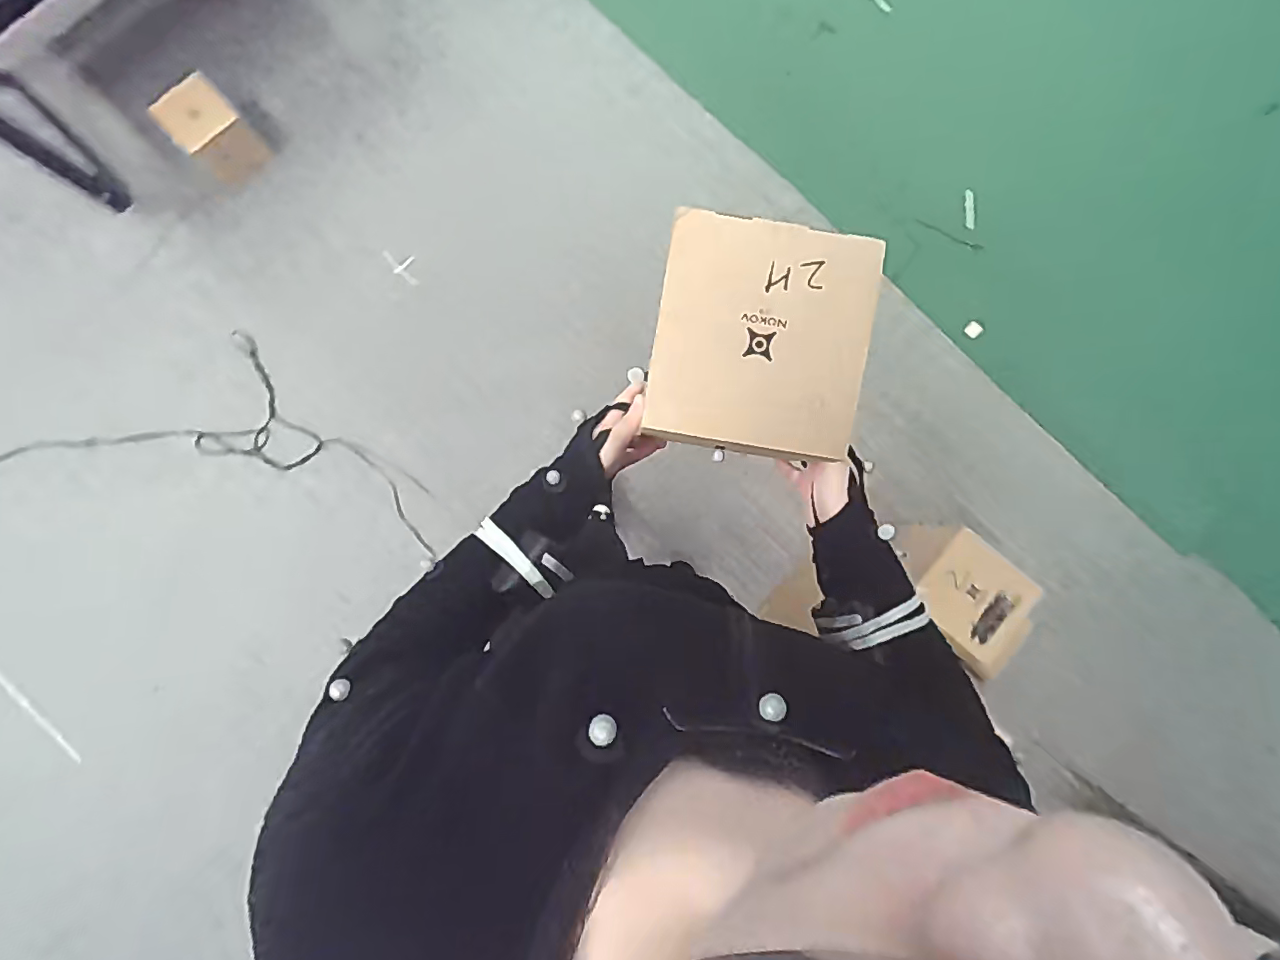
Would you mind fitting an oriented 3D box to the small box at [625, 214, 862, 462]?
[{"bbox_3d":[0.083,-0.118,0.513,0.168,0.176,0.179,9,93,-1],"label":"small box"}]
